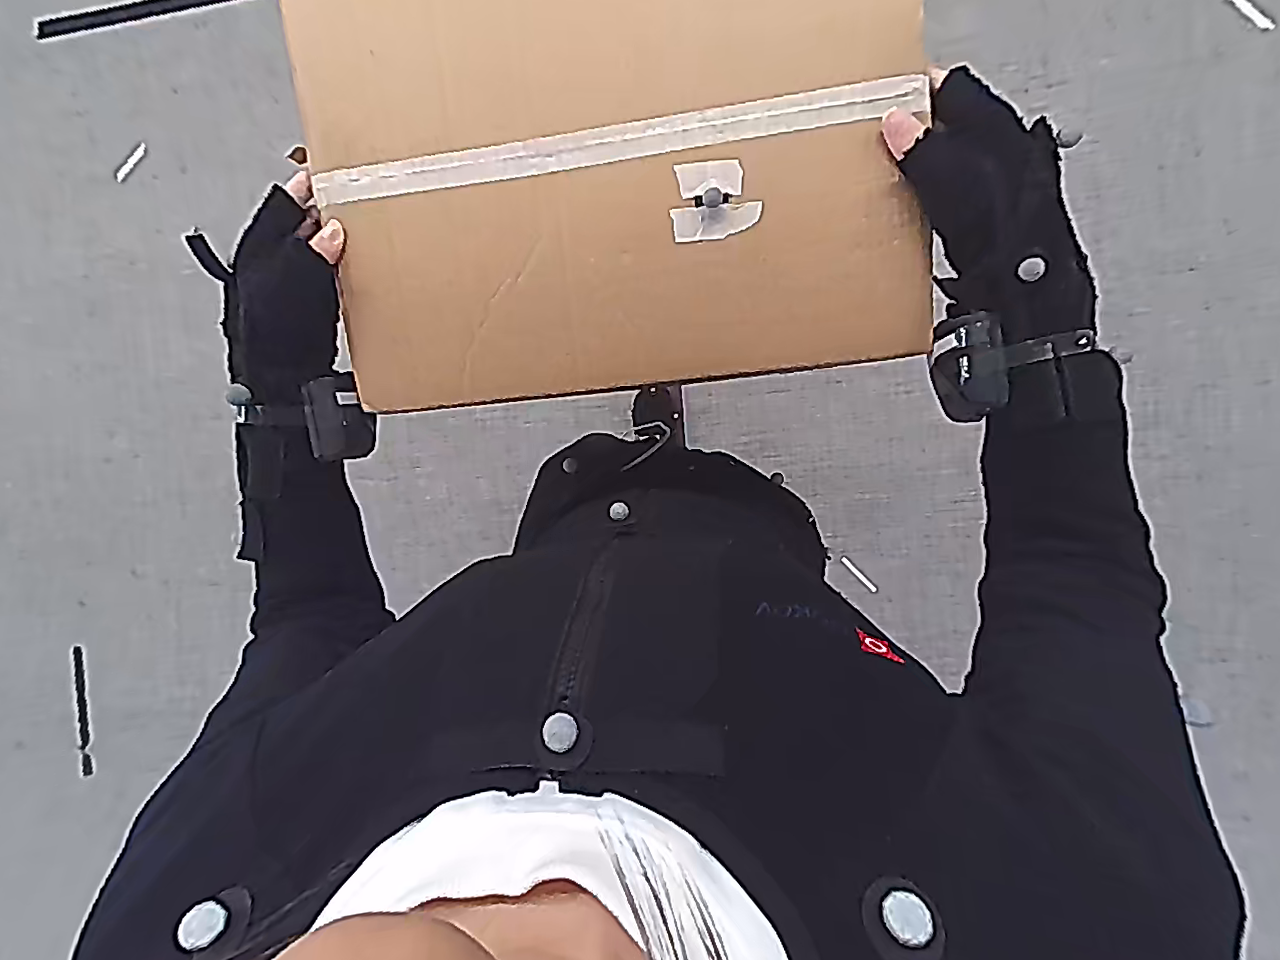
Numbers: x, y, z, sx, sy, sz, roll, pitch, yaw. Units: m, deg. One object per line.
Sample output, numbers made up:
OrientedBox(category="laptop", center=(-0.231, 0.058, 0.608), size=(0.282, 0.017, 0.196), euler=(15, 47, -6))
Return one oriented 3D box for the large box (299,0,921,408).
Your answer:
OrientedBox(category="large box", center=(-0.011, -0.253, 0.514), size=(0.408, 0.320, 0.320), euler=(-6, 101, 5))
